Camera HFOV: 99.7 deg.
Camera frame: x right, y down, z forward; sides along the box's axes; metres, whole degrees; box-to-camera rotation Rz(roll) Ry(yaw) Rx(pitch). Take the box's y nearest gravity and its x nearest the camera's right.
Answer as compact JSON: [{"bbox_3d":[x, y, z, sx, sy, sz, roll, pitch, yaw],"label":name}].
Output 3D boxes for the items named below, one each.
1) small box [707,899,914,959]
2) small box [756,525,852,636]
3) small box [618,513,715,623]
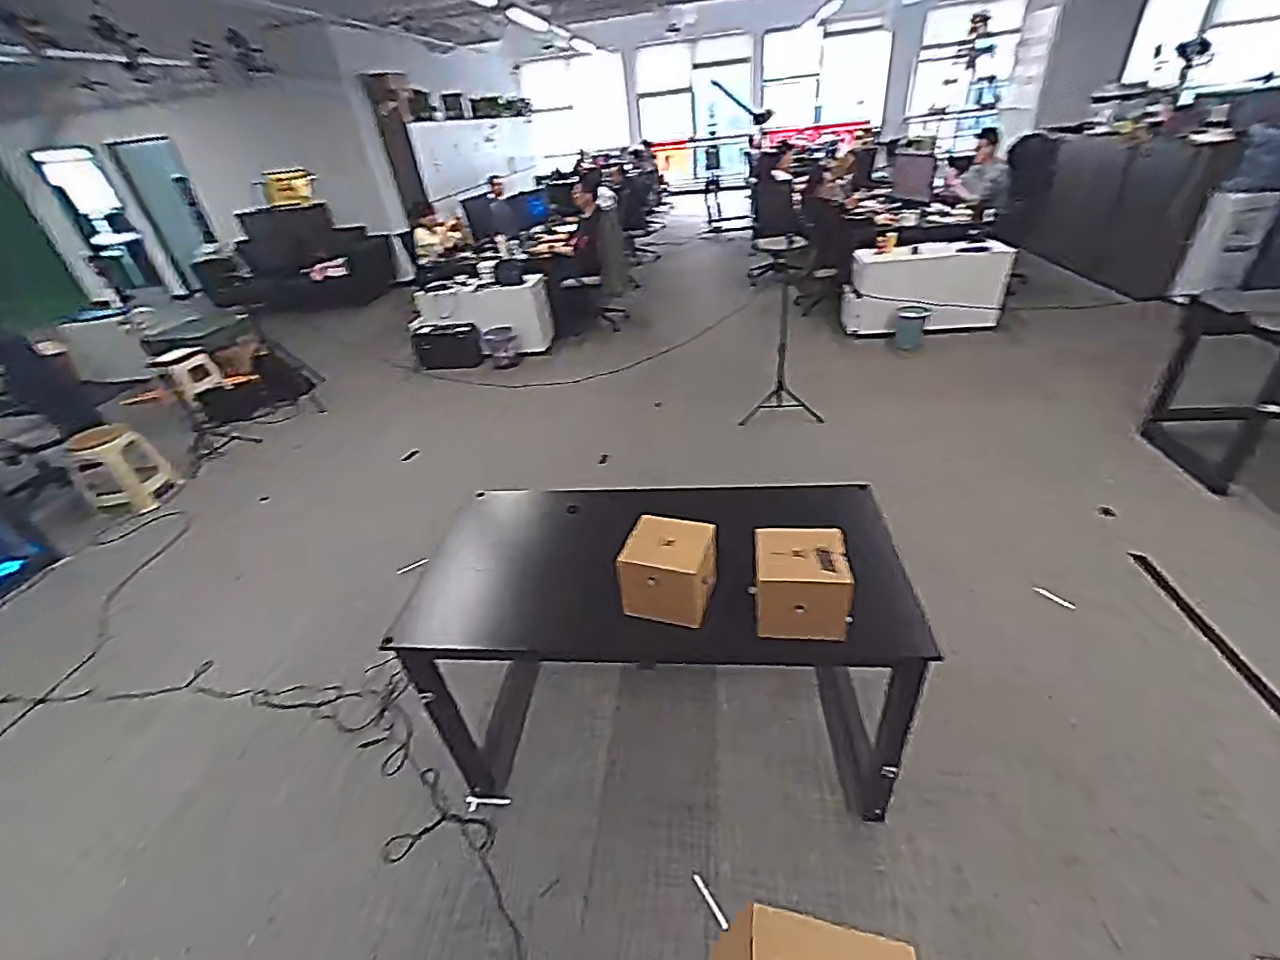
[{"bbox_3d":[0.167,0.564,0.544,0.179,0.176,0.168,13,37,2],"label":"small box"},{"bbox_3d":[0.338,0.212,1.146,0.179,0.176,0.168,-1,34,11],"label":"small box"},{"bbox_3d":[0.068,0.199,1.221,0.179,0.176,0.168,6,35,20],"label":"small box"}]
